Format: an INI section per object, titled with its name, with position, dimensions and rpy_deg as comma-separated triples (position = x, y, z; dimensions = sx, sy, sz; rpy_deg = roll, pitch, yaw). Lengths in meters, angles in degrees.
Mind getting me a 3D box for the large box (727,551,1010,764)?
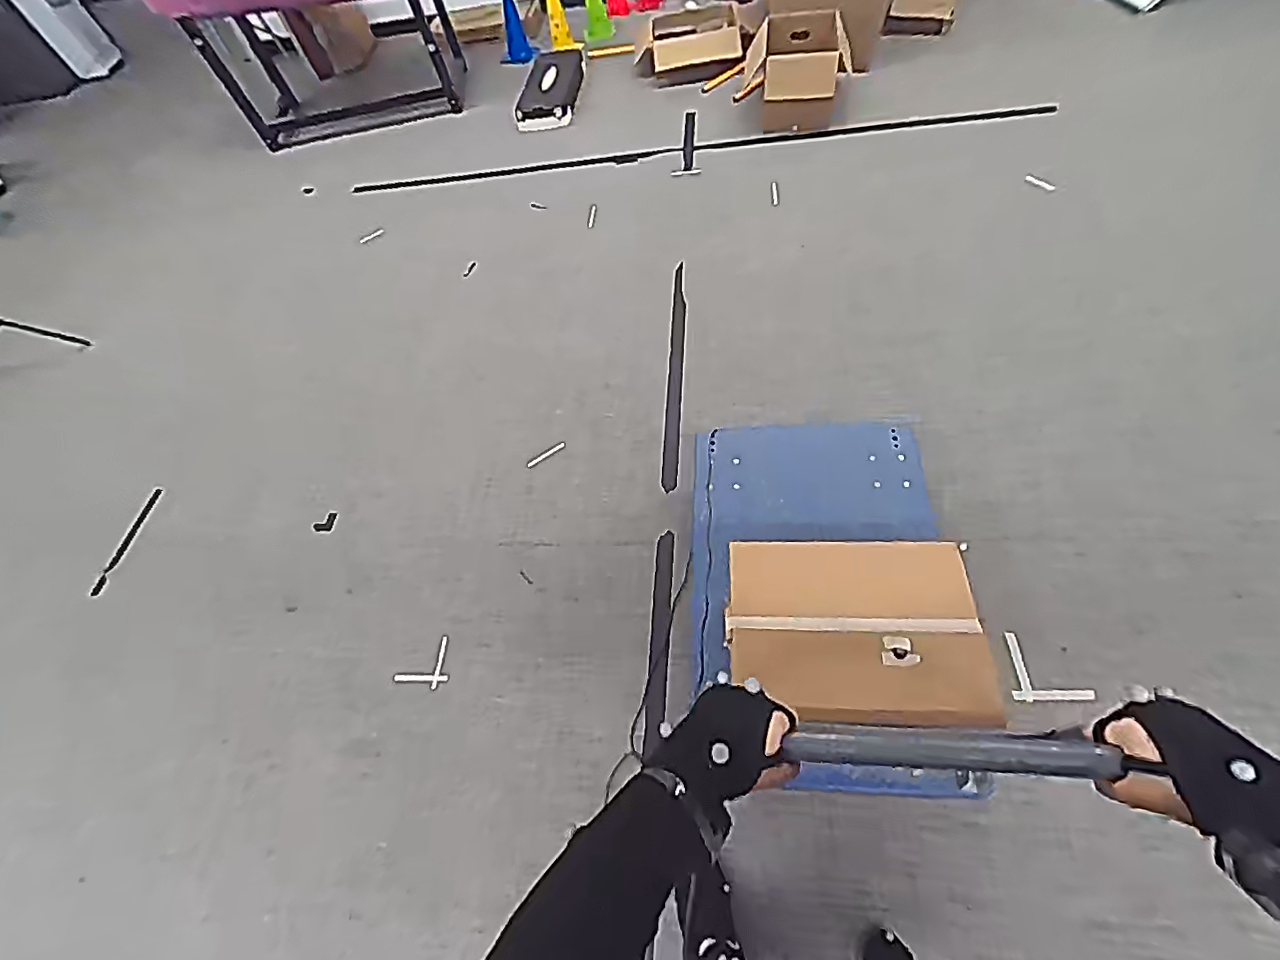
[large box]
position = 0.373, 0.339, 1.017
dimensions = 0.408, 0.320, 0.320
rpy_deg = 0, 58, 8
